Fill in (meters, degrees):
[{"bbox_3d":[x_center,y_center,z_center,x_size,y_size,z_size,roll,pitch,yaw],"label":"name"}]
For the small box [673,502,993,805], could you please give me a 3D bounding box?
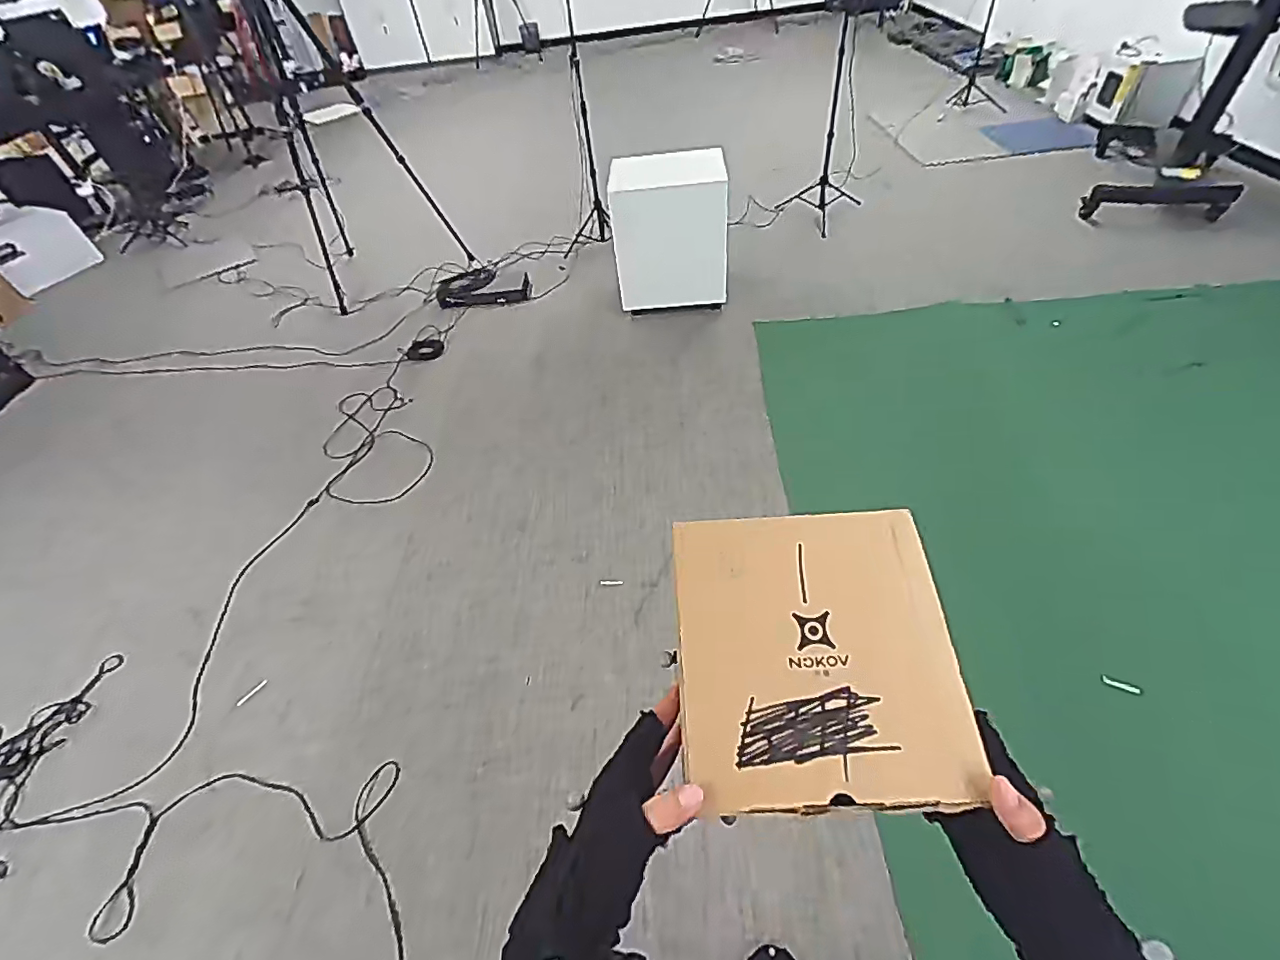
[{"bbox_3d":[0.111,0.132,0.401,0.168,0.176,0.179,-3,61,2],"label":"small box"}]
